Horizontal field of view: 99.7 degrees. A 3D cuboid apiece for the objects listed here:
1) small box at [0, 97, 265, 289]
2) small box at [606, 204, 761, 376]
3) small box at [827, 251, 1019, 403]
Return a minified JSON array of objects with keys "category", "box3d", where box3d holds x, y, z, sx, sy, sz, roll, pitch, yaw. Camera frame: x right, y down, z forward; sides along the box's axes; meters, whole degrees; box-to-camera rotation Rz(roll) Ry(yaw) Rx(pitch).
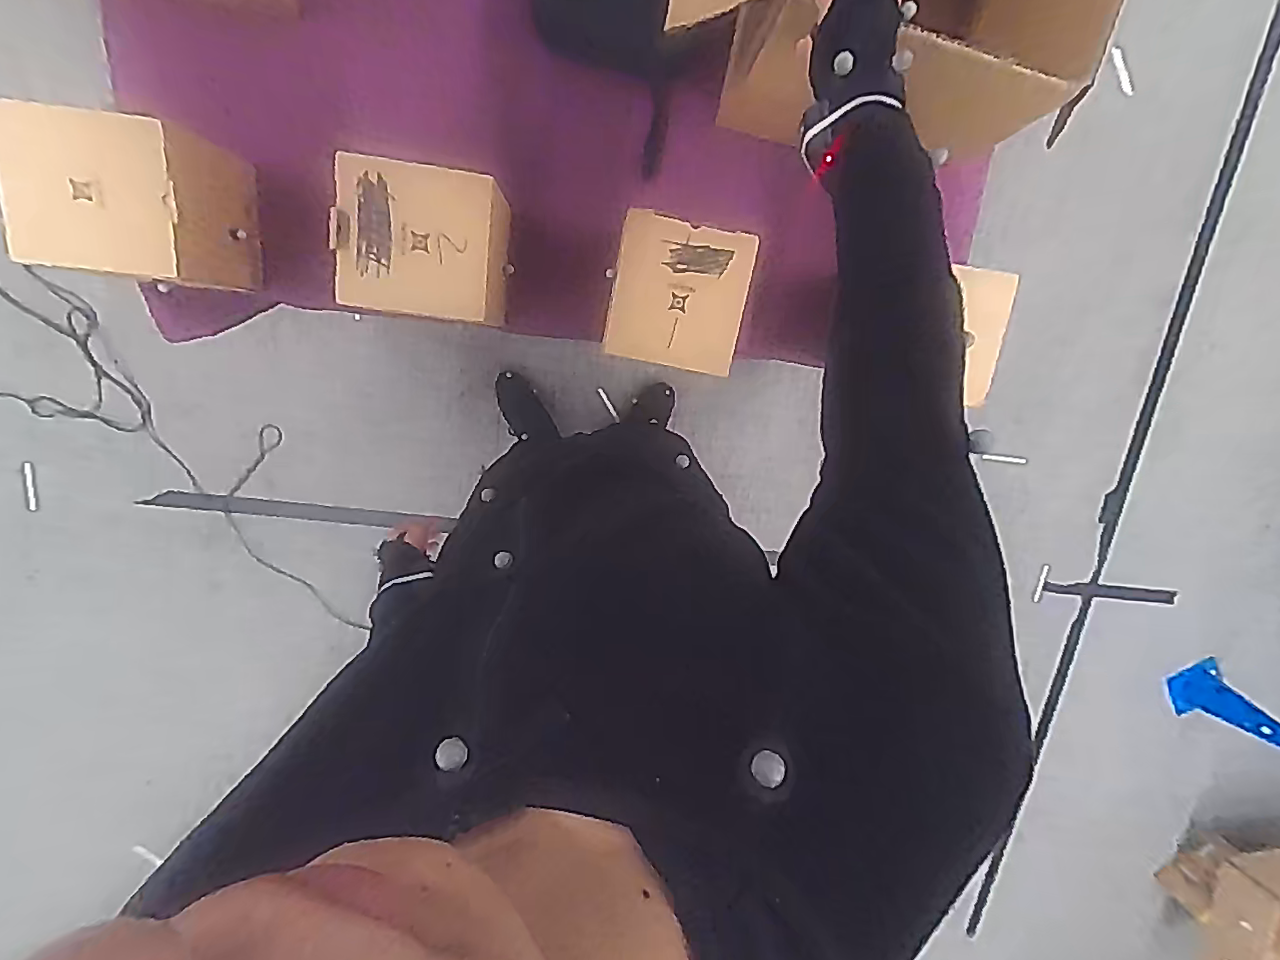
[{"category":"small box","box3d":[-0.608,-0.336,0.669,0.179,0.176,0.168,3,104,-7]},{"category":"small box","box3d":[0.046,-0.253,0.747,0.168,0.176,0.179,10,105,-7]},{"category":"small box","box3d":[0.392,-0.216,0.785,0.168,0.176,0.179,6,104,-5]}]
